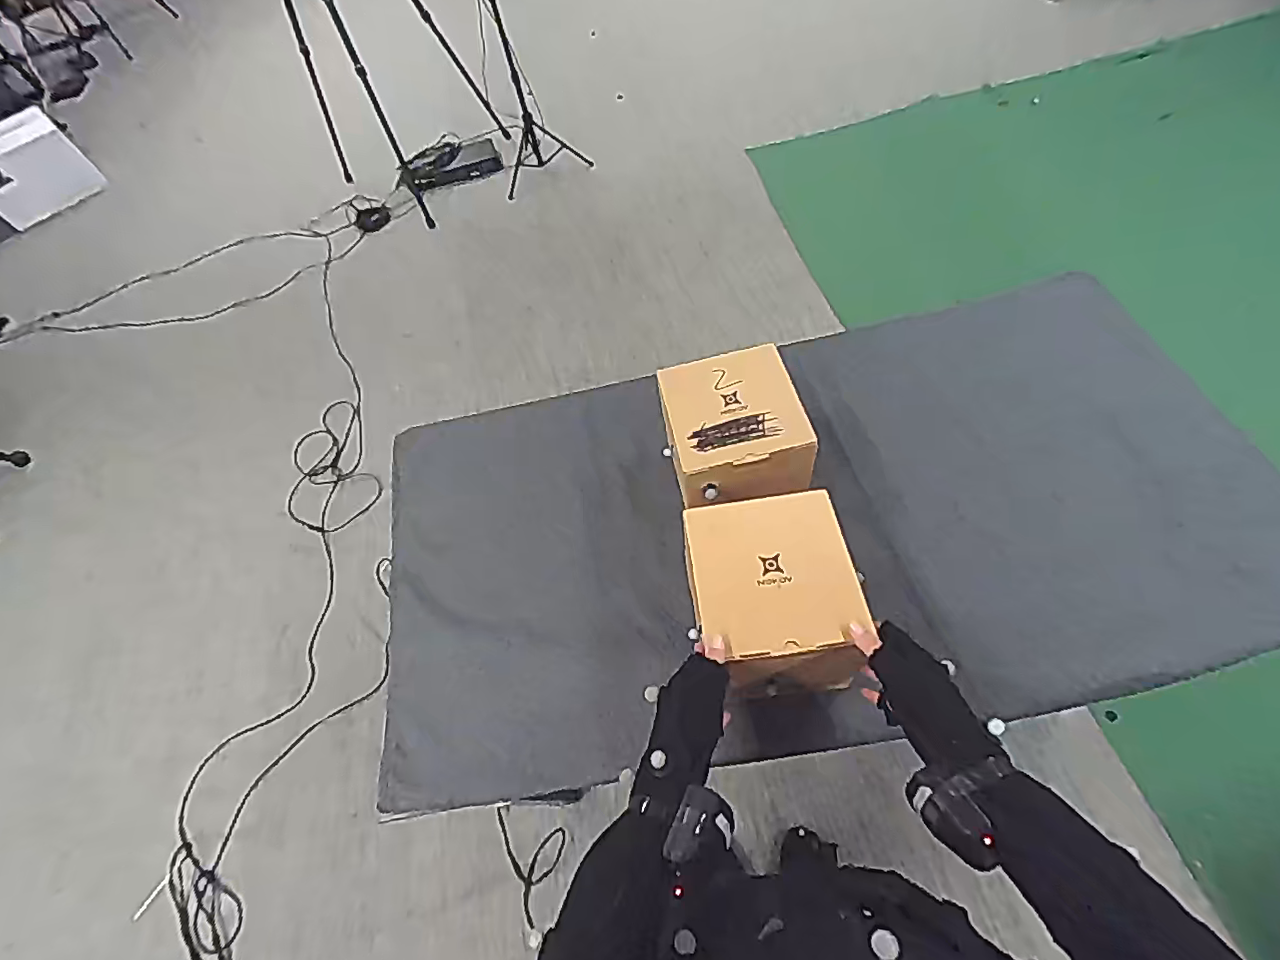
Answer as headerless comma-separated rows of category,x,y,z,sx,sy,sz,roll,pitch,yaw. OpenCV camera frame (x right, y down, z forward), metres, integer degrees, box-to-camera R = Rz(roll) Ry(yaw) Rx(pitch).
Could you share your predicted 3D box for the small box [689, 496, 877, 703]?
small box,0.149,0.143,0.632,0.168,0.176,0.179,-8,54,2
